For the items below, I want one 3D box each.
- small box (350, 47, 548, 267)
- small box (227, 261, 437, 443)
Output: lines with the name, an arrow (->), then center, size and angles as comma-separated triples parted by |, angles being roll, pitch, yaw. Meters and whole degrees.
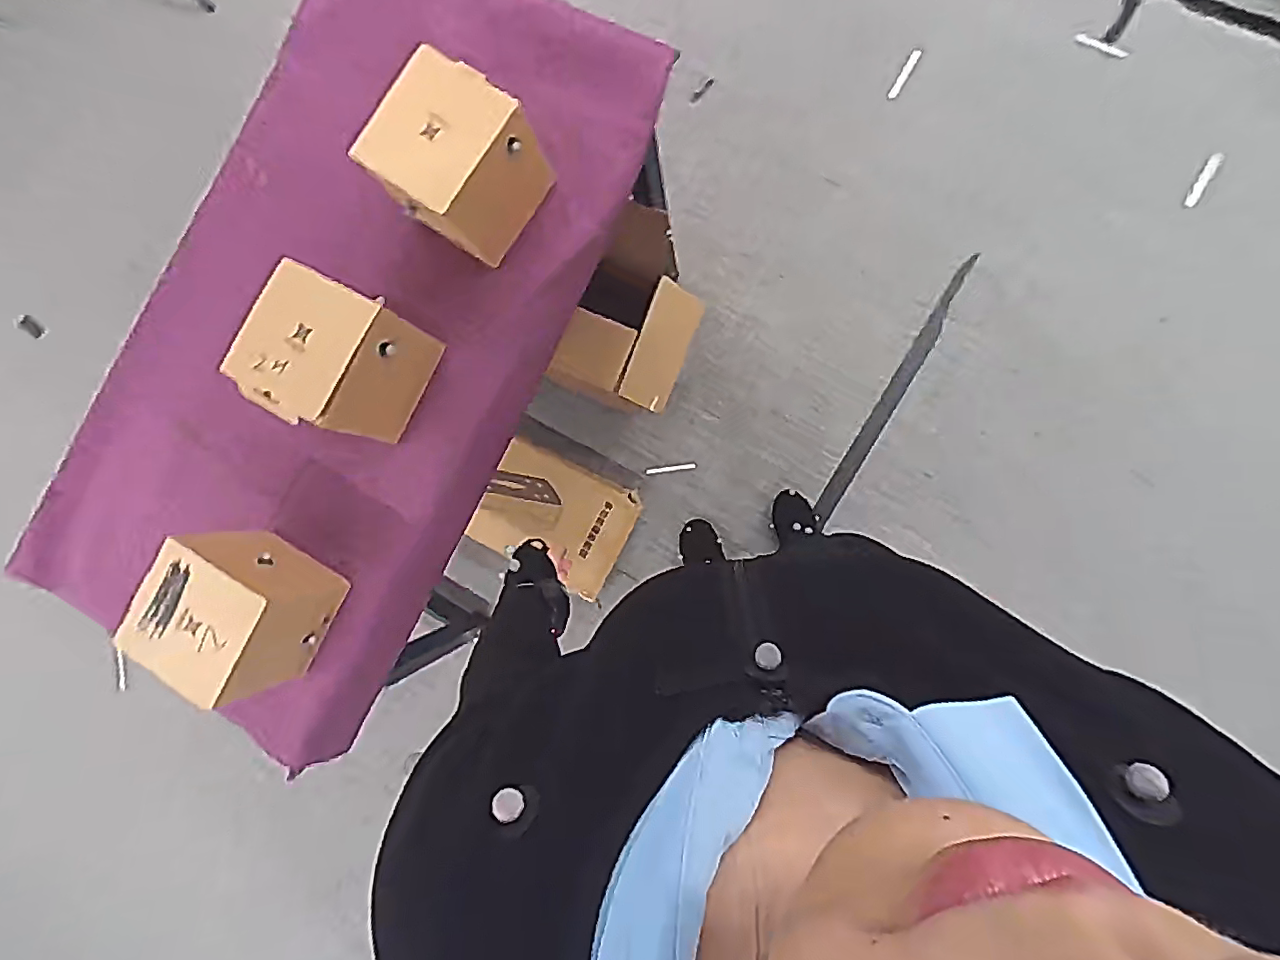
small box -> -0.256, -0.442, 0.770 | 0.168, 0.176, 0.179 | 35, 91, 8
small box -> -0.424, -0.171, 0.777 | 0.168, 0.176, 0.179 | 27, 91, 11
